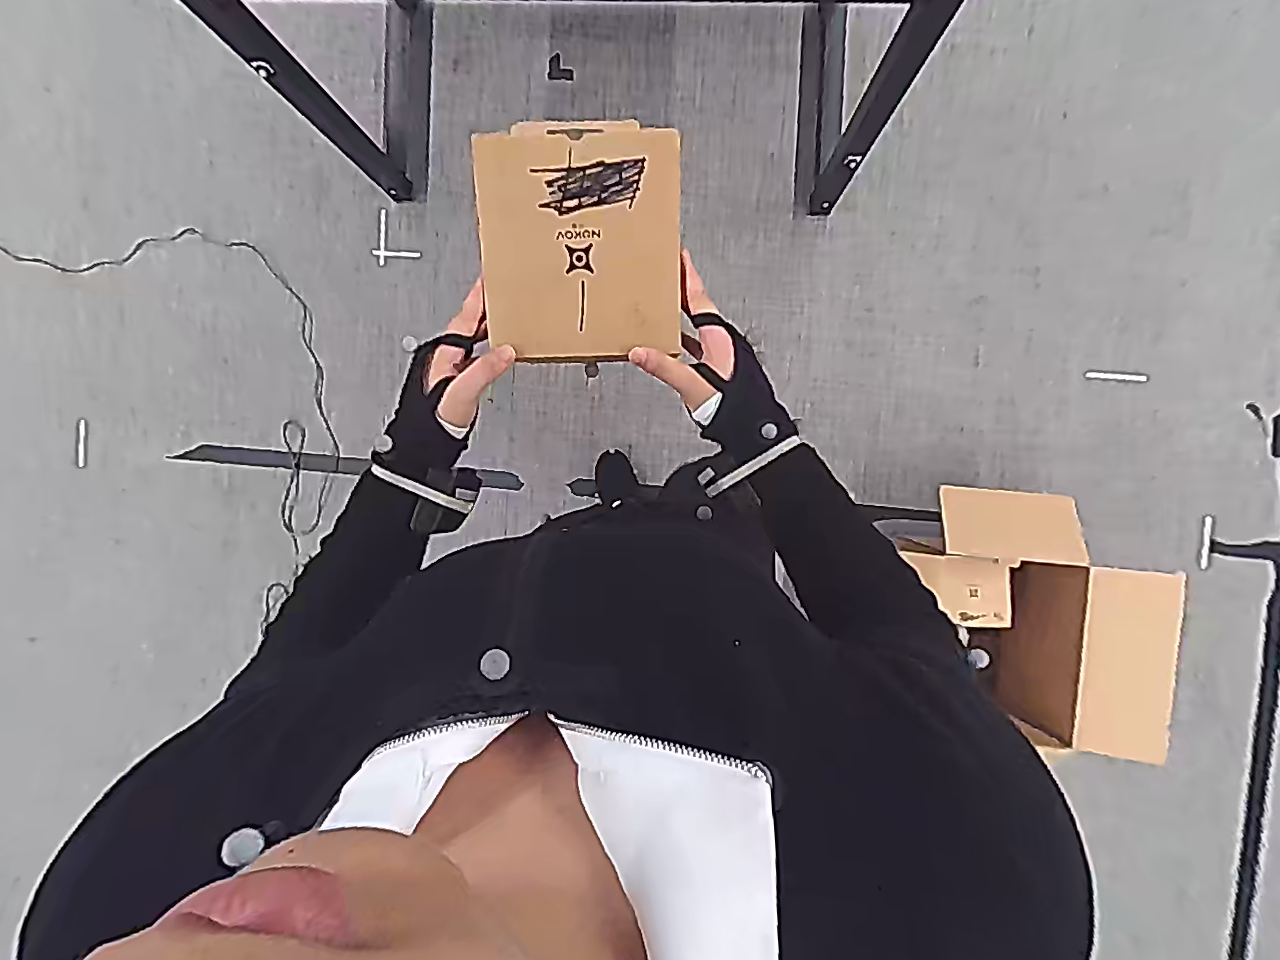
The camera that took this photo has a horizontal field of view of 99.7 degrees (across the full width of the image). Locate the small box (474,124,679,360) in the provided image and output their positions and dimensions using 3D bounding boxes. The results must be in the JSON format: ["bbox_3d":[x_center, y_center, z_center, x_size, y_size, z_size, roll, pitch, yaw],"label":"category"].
[{"bbox_3d":[-0.050,-0.209,0.521,0.168,0.176,0.179,-1,101,1],"label":"small box"}]
